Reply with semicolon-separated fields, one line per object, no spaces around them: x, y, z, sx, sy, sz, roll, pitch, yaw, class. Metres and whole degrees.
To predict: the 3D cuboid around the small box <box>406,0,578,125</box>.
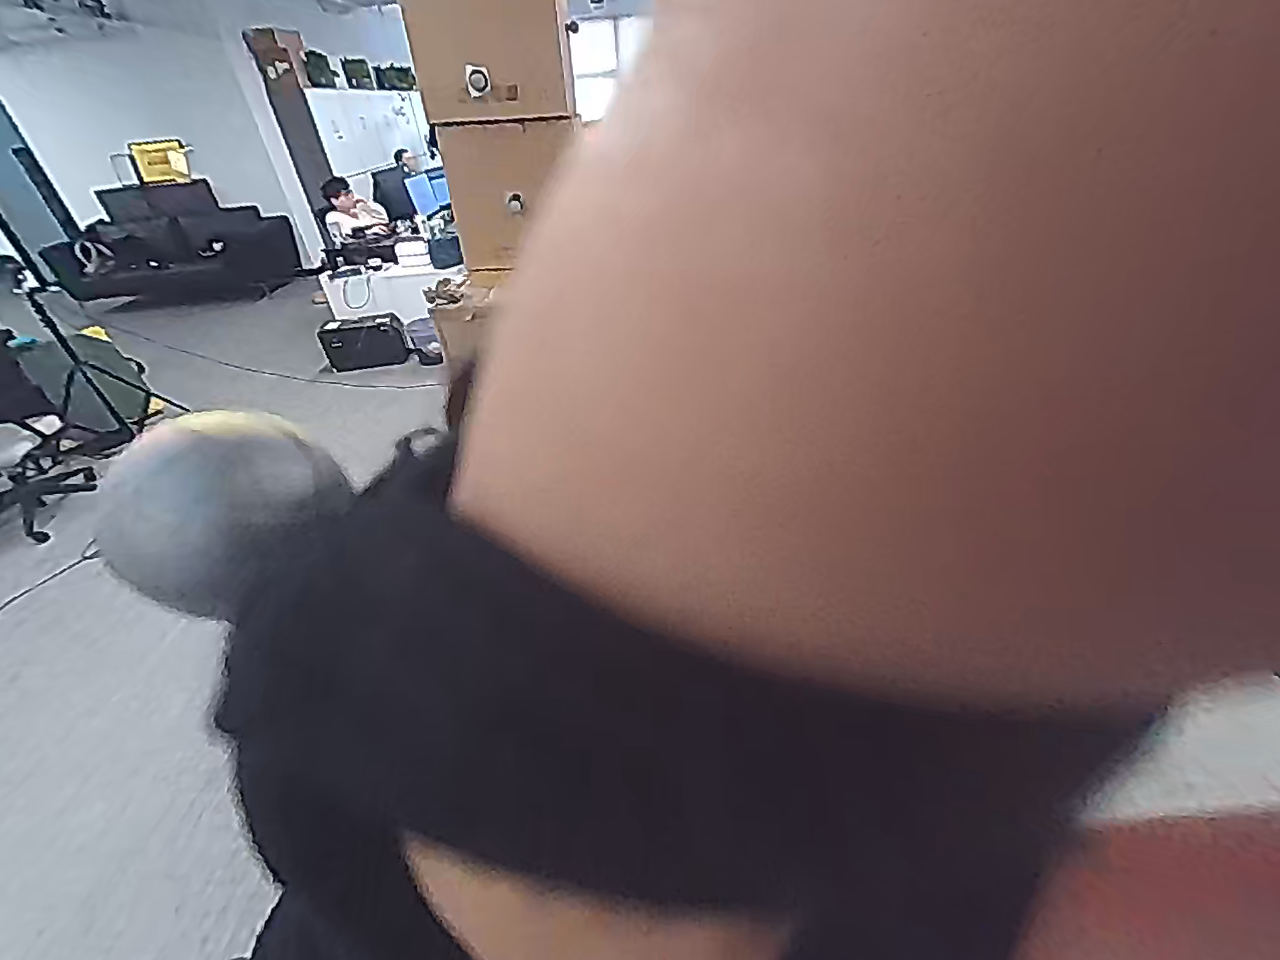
-0.167;-0.526;0.642;0.168;0.176;0.179;-5;35;0;small box

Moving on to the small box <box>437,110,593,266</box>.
-0.156;-0.401;0.747;0.168;0.176;0.179;-3;36;0;small box
